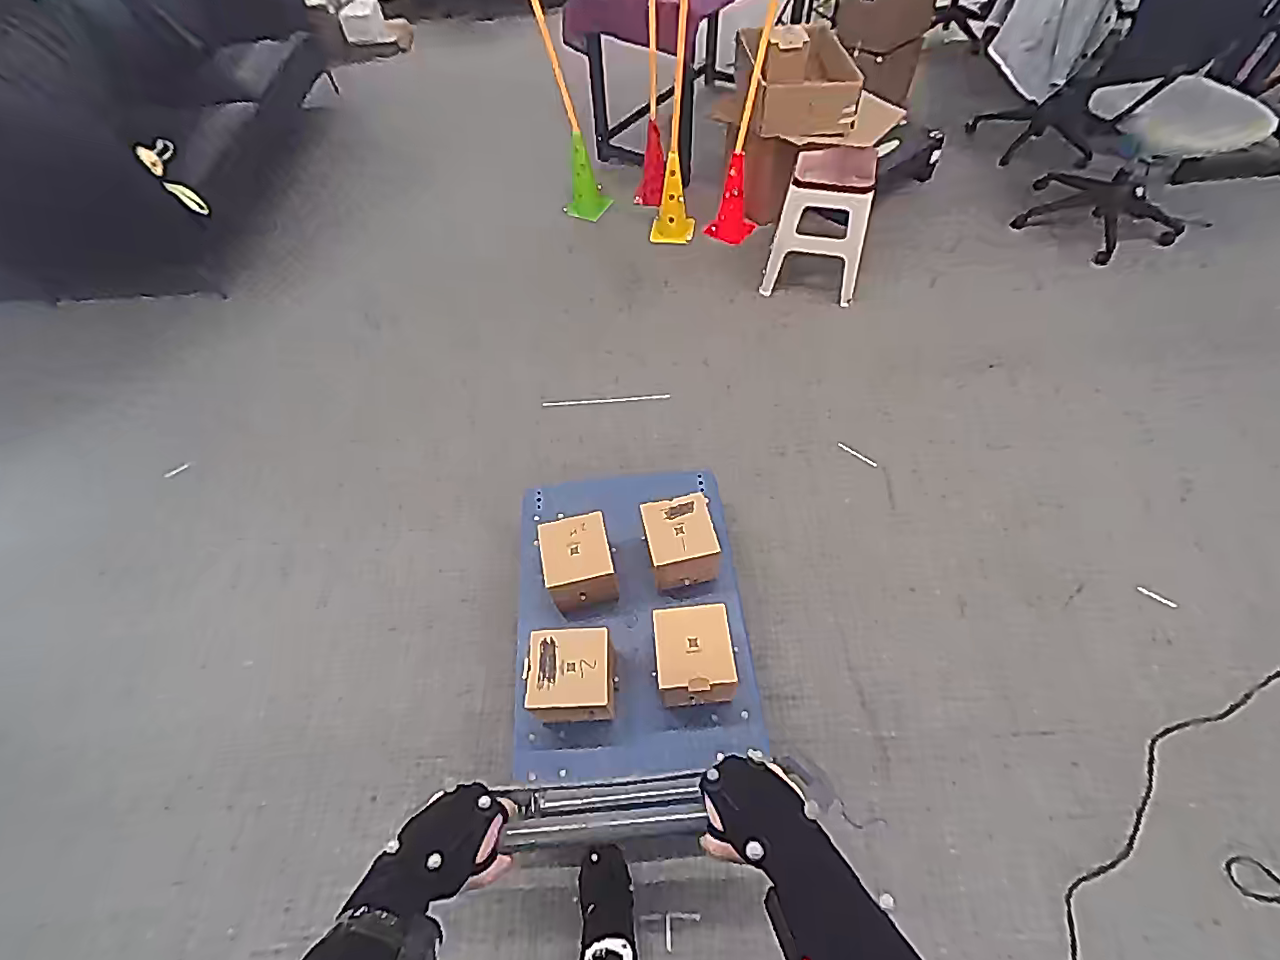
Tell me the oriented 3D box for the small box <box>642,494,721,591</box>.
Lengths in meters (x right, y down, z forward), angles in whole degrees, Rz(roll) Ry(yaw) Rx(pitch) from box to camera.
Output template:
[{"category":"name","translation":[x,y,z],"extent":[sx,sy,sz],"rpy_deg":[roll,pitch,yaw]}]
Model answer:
[{"category":"small box","translation":[0.103,0.163,1.396],"extent":[0.168,0.176,0.179],"rpy_deg":[-12,57,-3]}]

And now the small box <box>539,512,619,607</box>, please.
[{"category":"small box","translation":[-0.153,0.210,1.381],"extent":[0.168,0.176,0.179],"rpy_deg":[-12,57,-5]}]

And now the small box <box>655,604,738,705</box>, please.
[{"category":"small box","translation":[0.122,0.402,1.239],"extent":[0.168,0.176,0.179],"rpy_deg":[-6,57,0]}]
